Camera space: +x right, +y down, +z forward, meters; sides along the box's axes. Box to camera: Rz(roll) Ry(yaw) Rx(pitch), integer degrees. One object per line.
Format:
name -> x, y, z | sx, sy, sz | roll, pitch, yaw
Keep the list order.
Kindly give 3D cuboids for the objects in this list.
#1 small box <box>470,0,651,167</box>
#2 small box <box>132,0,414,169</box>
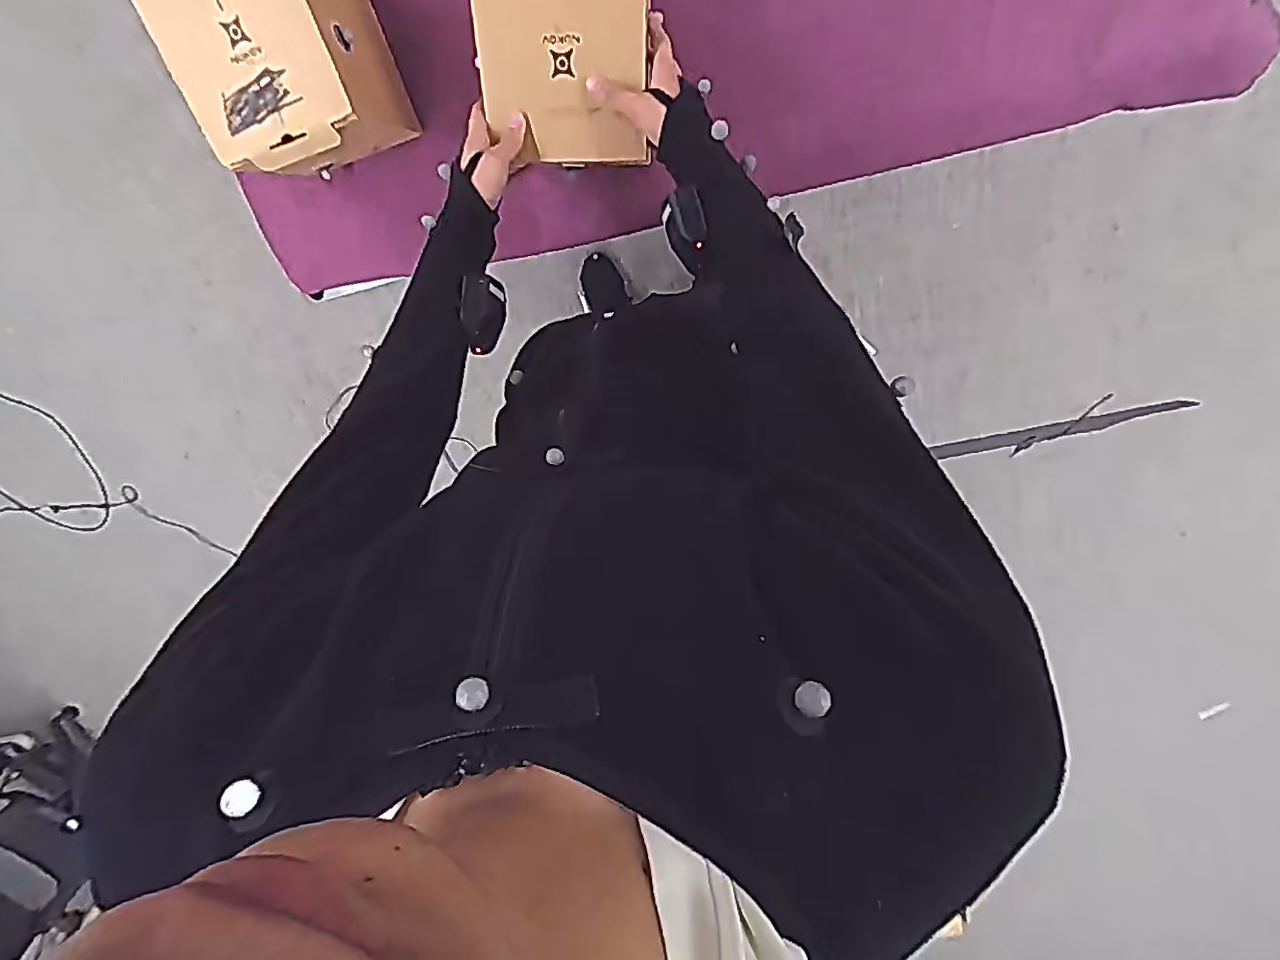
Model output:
small box -> -0.074, -0.446, 0.589 | 0.168, 0.176, 0.179 | 1, 119, 2
small box -> -0.384, -0.463, 0.596 | 0.168, 0.176, 0.179 | -14, 115, 10
